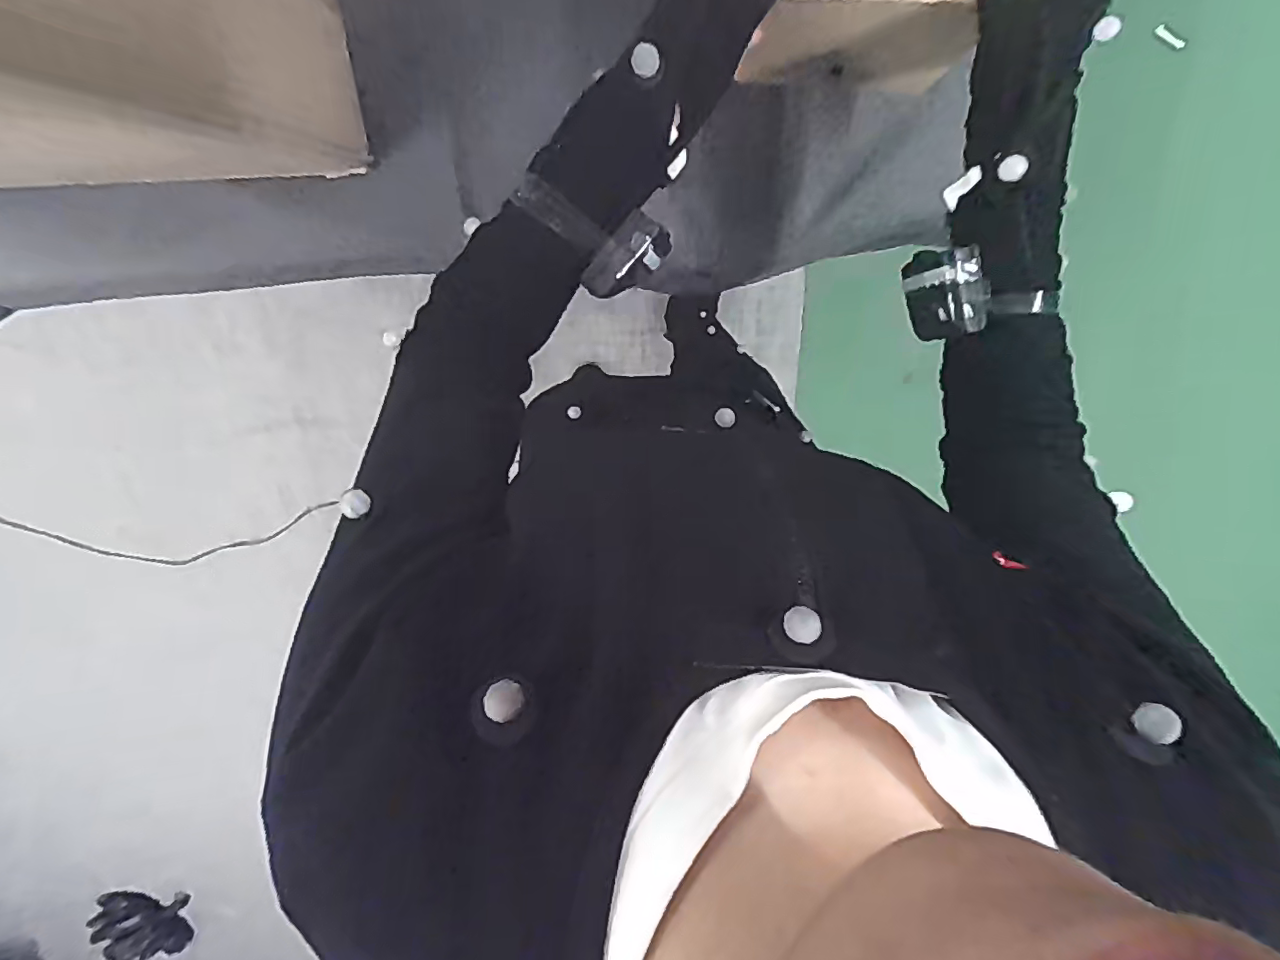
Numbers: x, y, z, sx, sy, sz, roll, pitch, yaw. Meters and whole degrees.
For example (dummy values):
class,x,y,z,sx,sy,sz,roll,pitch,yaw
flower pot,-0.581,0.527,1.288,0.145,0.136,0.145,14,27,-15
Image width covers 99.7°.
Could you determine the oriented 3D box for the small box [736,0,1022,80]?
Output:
class,x,y,z,sx,sy,sz,roll,pitch,yaw
small box,0.172,-0.415,0.390,0.179,0.176,0.168,6,111,4
